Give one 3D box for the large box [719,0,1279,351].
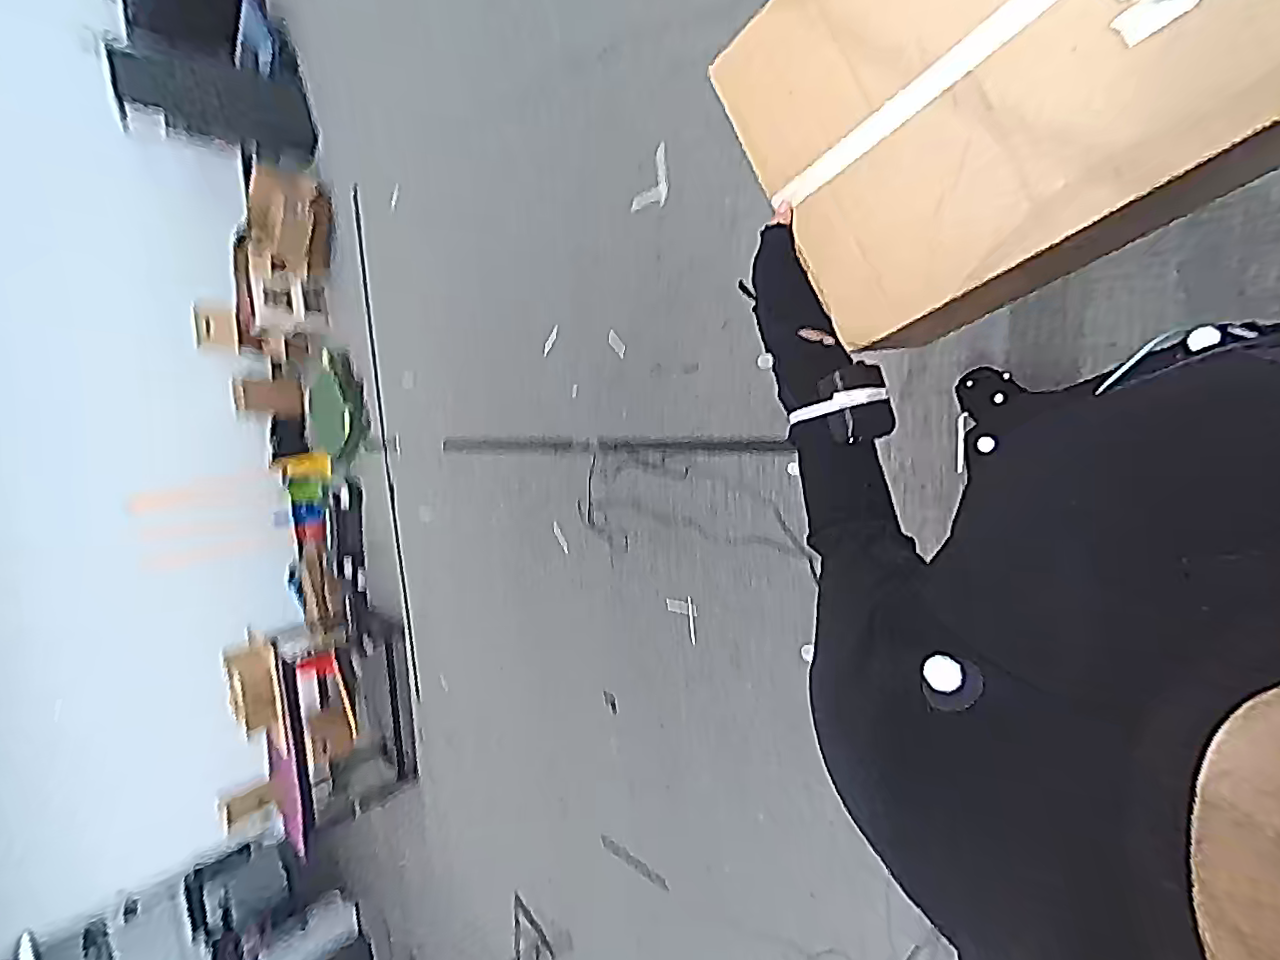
[{"bbox_3d":[0.362,-0.361,0.522,0.408,0.320,0.320,-29,84,38],"label":"large box"}]
